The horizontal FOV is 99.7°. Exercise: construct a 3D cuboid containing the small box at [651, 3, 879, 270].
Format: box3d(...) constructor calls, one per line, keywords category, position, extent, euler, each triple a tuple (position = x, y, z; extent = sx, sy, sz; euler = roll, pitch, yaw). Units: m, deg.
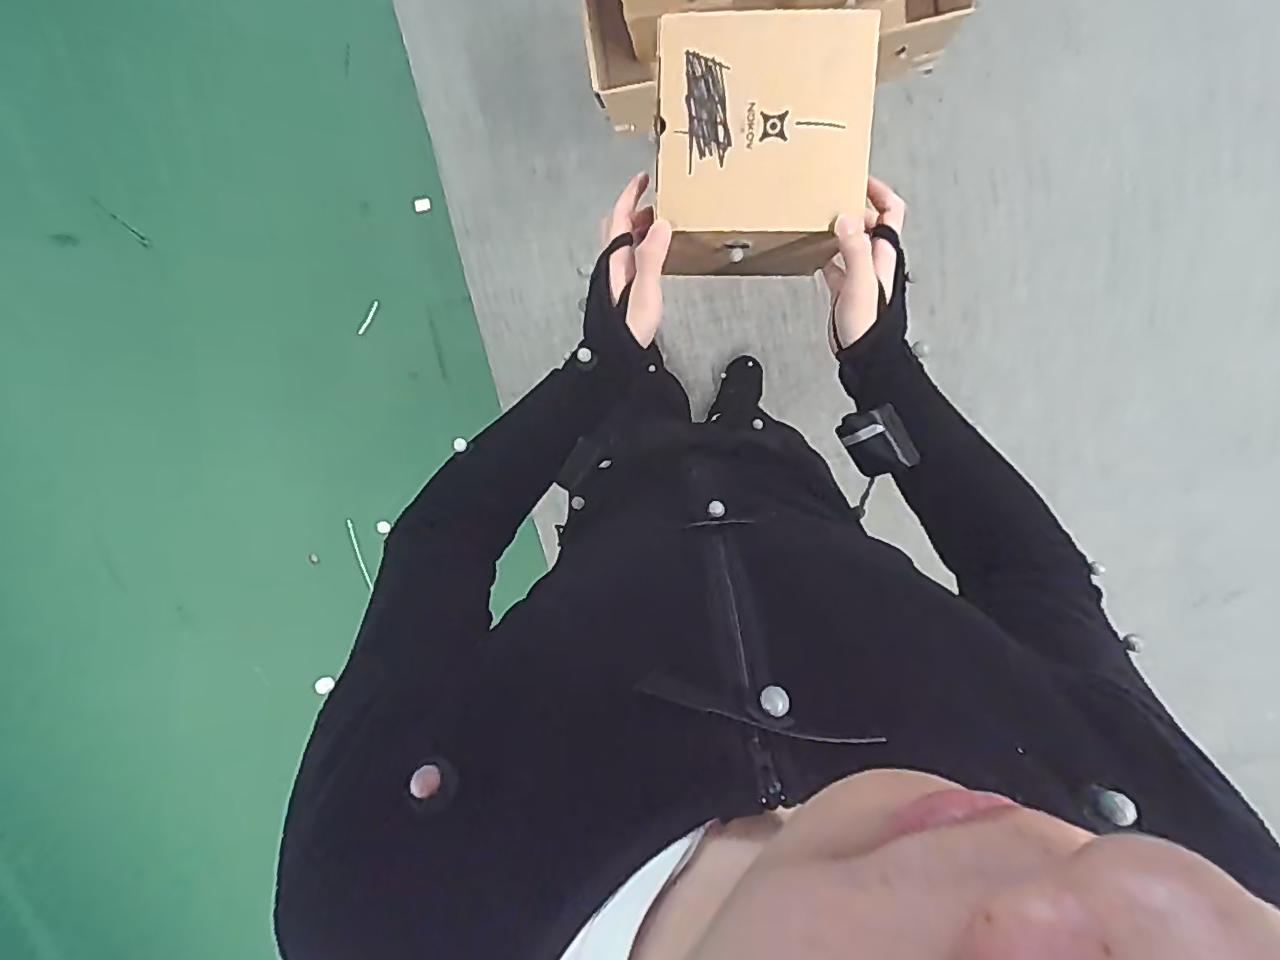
box3d(category="small box", position=(0.103, -0.304, 0.516), extent=(0.179, 0.176, 0.168), euler=(1, 99, 2))
